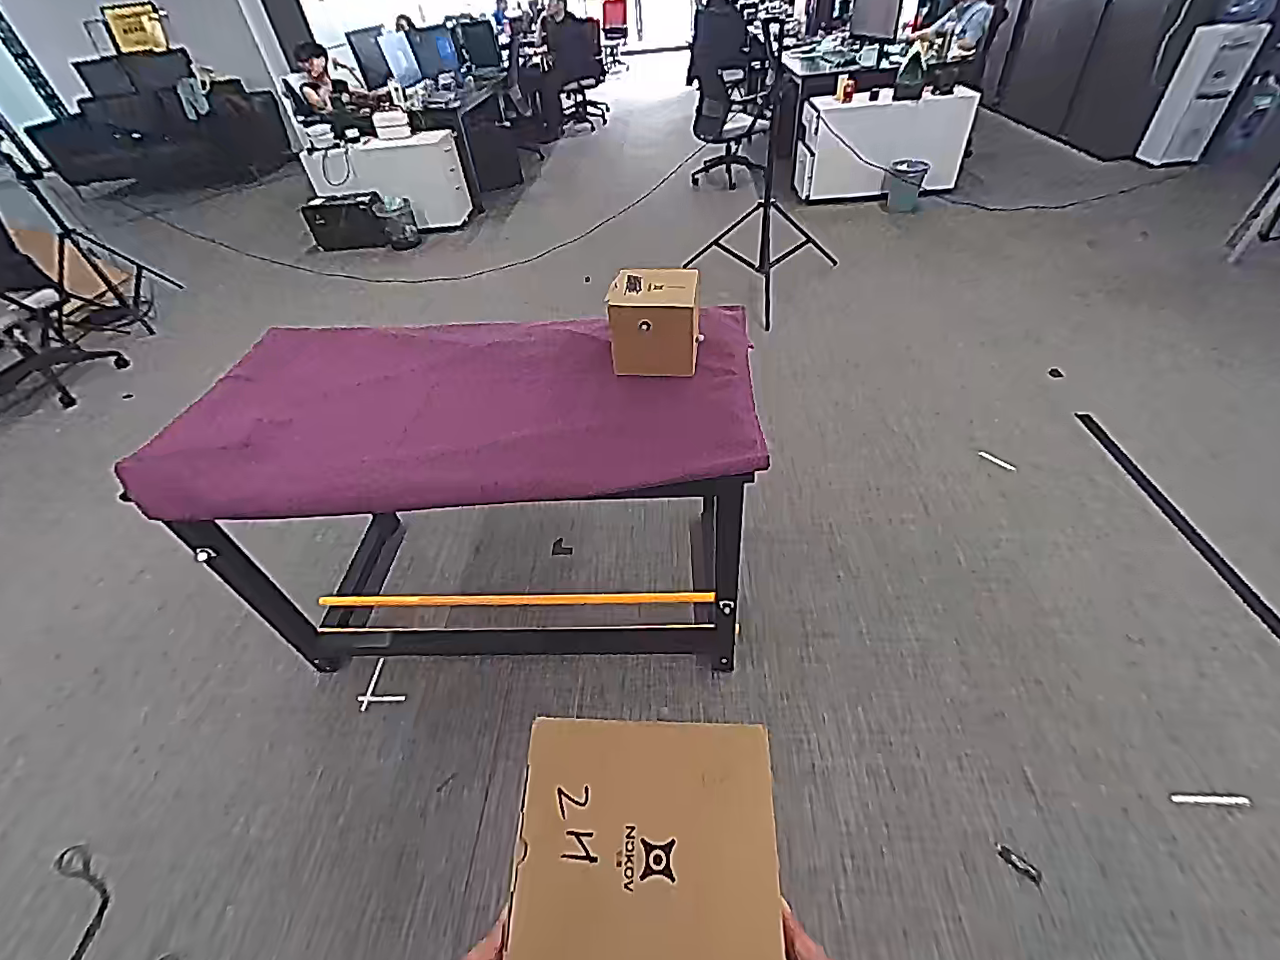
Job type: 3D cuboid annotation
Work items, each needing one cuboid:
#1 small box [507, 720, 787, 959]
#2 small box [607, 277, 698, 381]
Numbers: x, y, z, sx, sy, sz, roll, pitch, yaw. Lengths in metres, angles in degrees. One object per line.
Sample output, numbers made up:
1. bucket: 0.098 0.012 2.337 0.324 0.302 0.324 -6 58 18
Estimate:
1. small box: 0.009 0.292 0.426 0.179 0.176 0.168 0 58 4
2. small box: 0.034 -0.331 1.190 0.179 0.176 0.168 3 46 8
